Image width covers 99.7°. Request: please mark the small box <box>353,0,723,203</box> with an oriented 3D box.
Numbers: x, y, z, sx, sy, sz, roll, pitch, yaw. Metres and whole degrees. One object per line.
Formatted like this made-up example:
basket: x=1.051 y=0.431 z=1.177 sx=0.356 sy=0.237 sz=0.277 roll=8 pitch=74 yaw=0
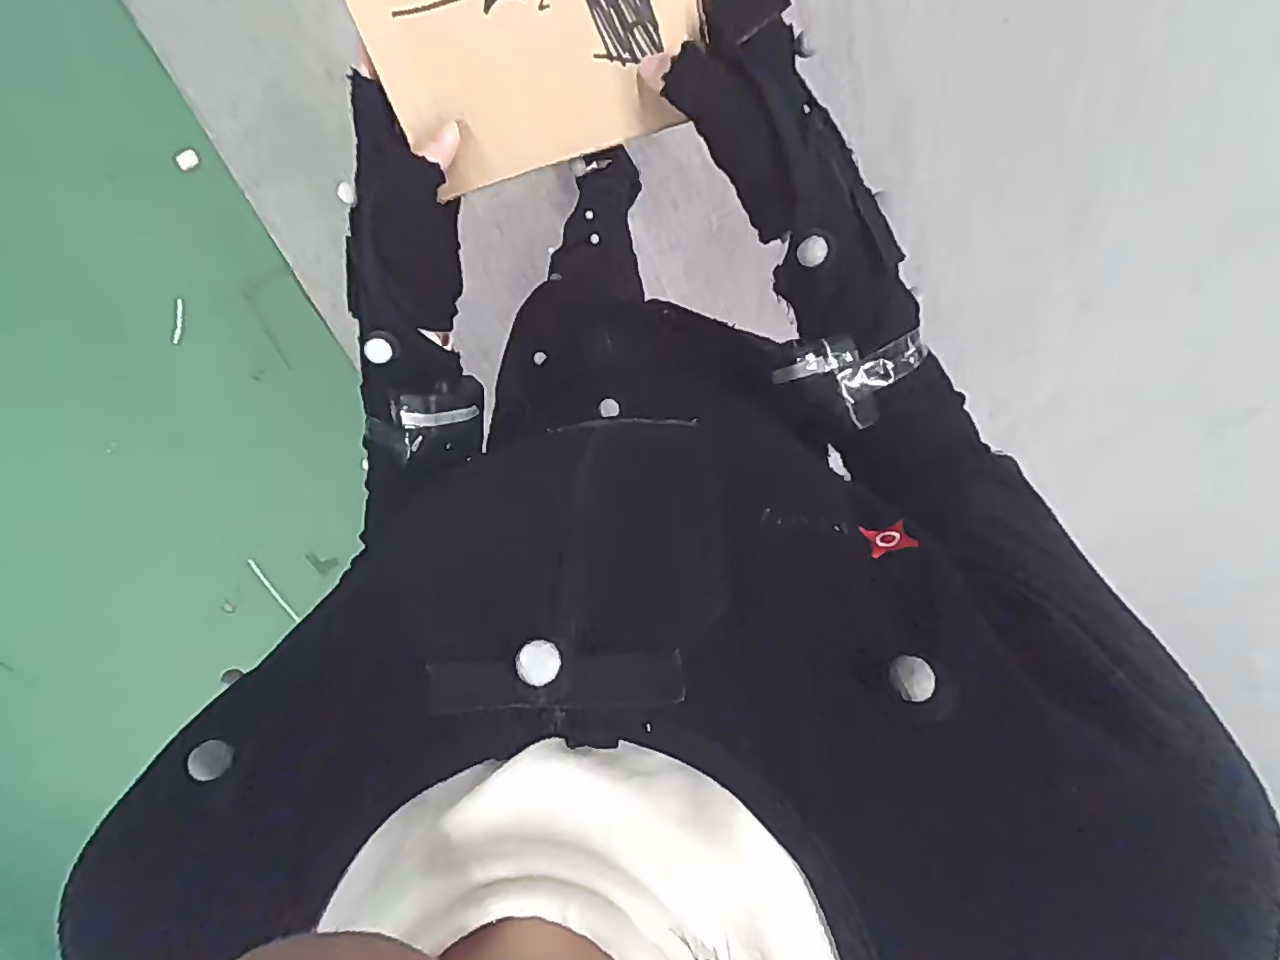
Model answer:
small box: x=-0.060 y=-0.302 z=0.337 sx=0.179 sy=0.176 sz=0.168 roll=-15 pitch=125 yaw=12
